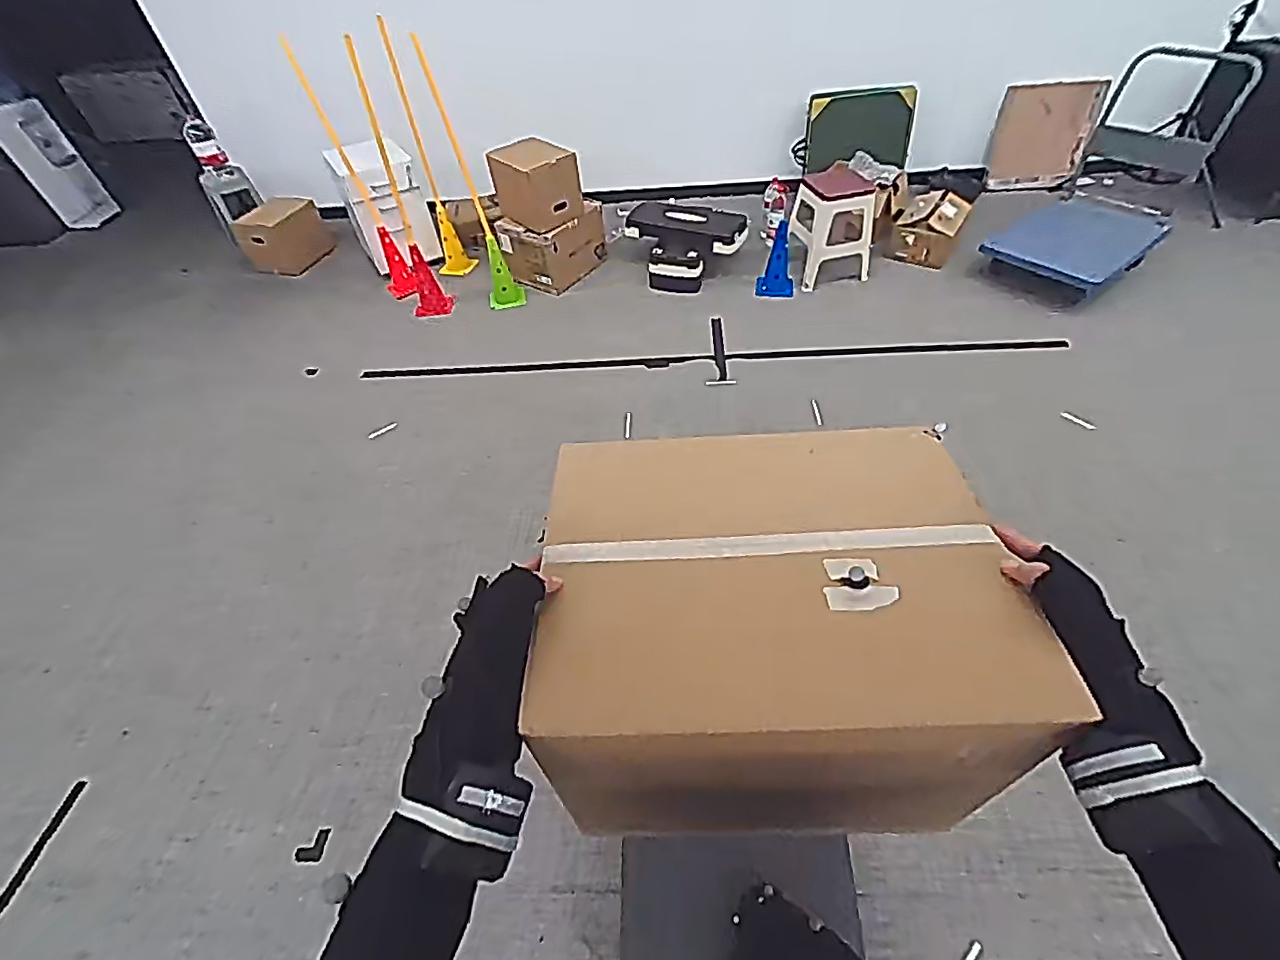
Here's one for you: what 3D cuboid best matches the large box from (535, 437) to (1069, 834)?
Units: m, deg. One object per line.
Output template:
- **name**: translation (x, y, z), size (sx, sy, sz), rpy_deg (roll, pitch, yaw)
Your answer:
- **large box**: translation (0.123, 0.176, 0.607), size (0.408, 0.320, 0.320), rpy_deg (-3, 45, 2)
